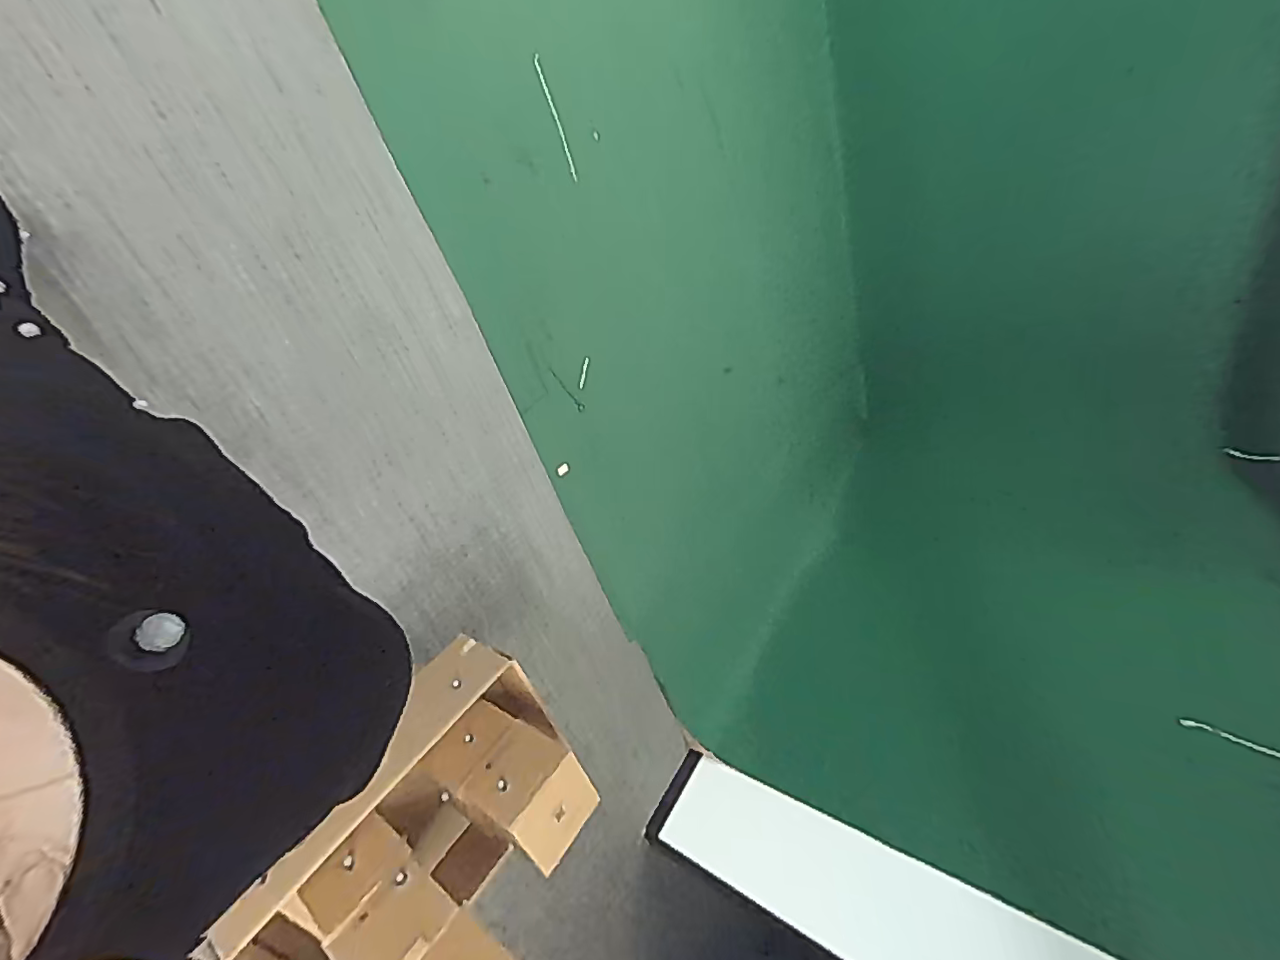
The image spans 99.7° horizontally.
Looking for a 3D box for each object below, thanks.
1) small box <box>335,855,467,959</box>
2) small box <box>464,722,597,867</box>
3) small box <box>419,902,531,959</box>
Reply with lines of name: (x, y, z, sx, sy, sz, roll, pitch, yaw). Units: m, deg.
small box: (-0.381, 0.792, 0.927, 0.168, 0.176, 0.179, -42, 127, -39)
small box: (-0.222, 0.620, 1.093, 0.168, 0.176, 0.179, -44, 128, -37)
small box: (-0.253, 0.808, 0.828, 0.179, 0.176, 0.168, -42, 126, -37)
